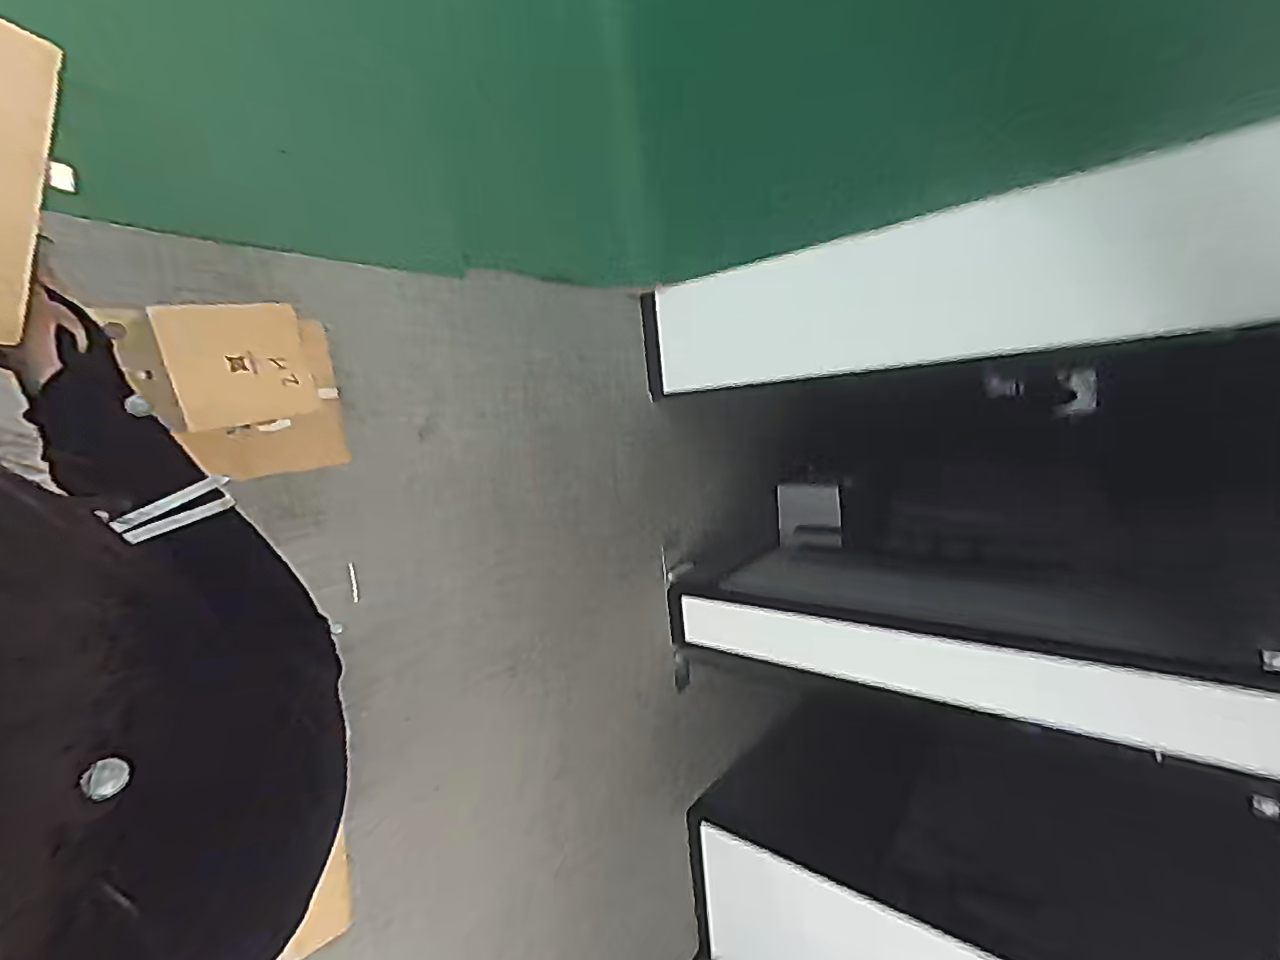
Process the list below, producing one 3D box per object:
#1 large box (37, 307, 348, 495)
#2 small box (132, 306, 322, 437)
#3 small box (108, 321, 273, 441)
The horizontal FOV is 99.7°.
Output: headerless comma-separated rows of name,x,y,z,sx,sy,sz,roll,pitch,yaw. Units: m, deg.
large box,-0.904,-0.158,1.119,0.408,0.320,0.320,-16,103,-51
small box,-0.624,-0.162,0.815,0.179,0.176,0.168,-24,109,-50
small box,-0.756,-0.161,0.912,0.168,0.176,0.179,-17,102,-51
